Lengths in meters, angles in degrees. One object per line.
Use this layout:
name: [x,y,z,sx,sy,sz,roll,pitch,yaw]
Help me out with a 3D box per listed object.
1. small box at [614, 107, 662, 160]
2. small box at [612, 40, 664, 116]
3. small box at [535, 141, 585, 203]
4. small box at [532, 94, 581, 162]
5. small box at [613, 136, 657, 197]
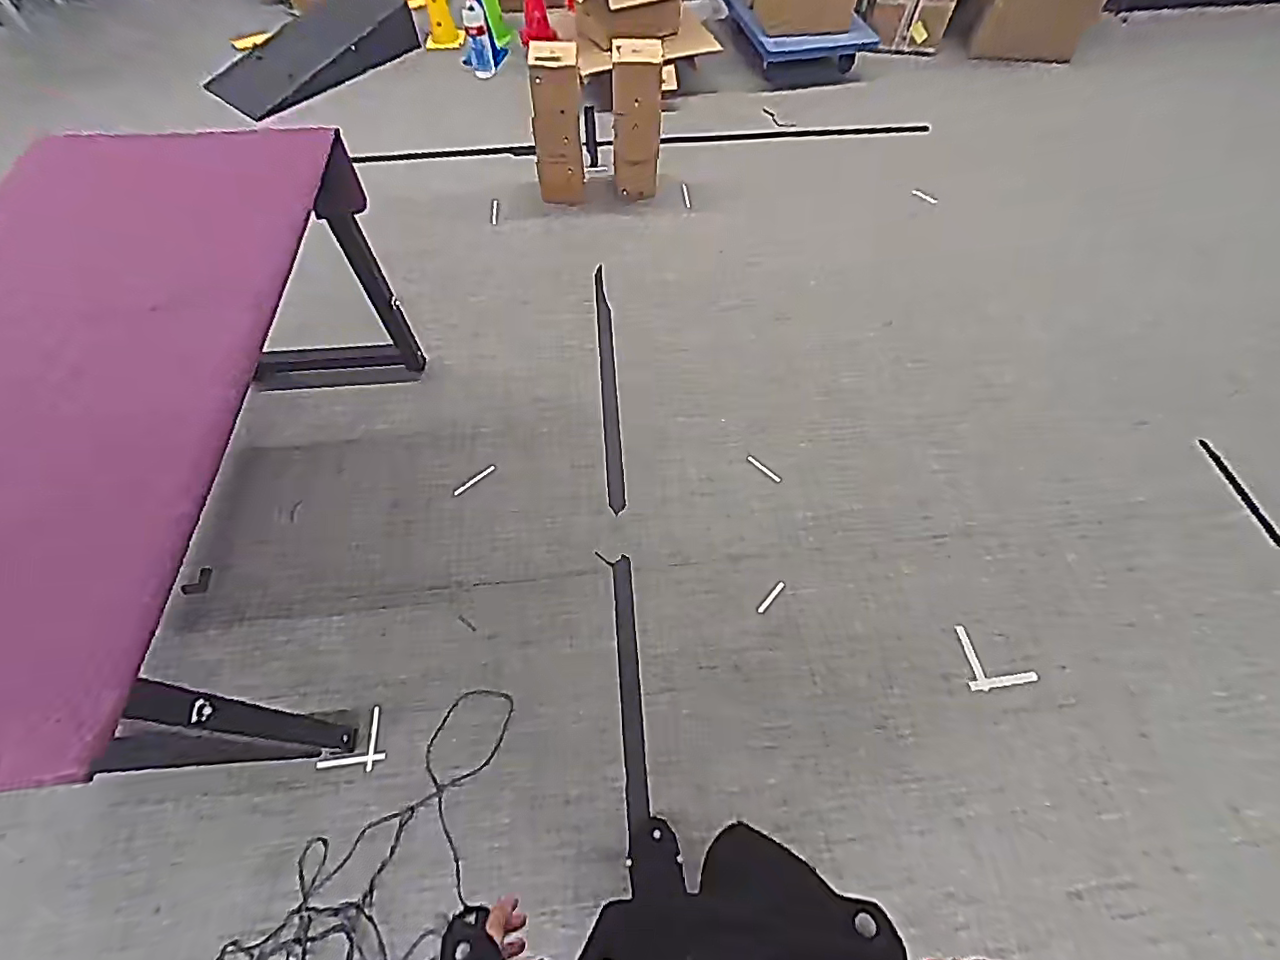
small box: [-0.012,-1.362,2.086,0.179,0.176,0.168,-3,61,-3]
small box: [-0.009,-1.439,1.942,0.179,0.176,0.168,1,61,-2]
small box: [-0.322,-1.260,2.214,0.179,0.176,0.168,1,60,-1]
small box: [-0.317,-1.348,2.077,0.168,0.176,0.179,0,59,-3]
small box: [-0.021,-1.295,2.238,0.168,0.176,0.179,-5,60,-4]
